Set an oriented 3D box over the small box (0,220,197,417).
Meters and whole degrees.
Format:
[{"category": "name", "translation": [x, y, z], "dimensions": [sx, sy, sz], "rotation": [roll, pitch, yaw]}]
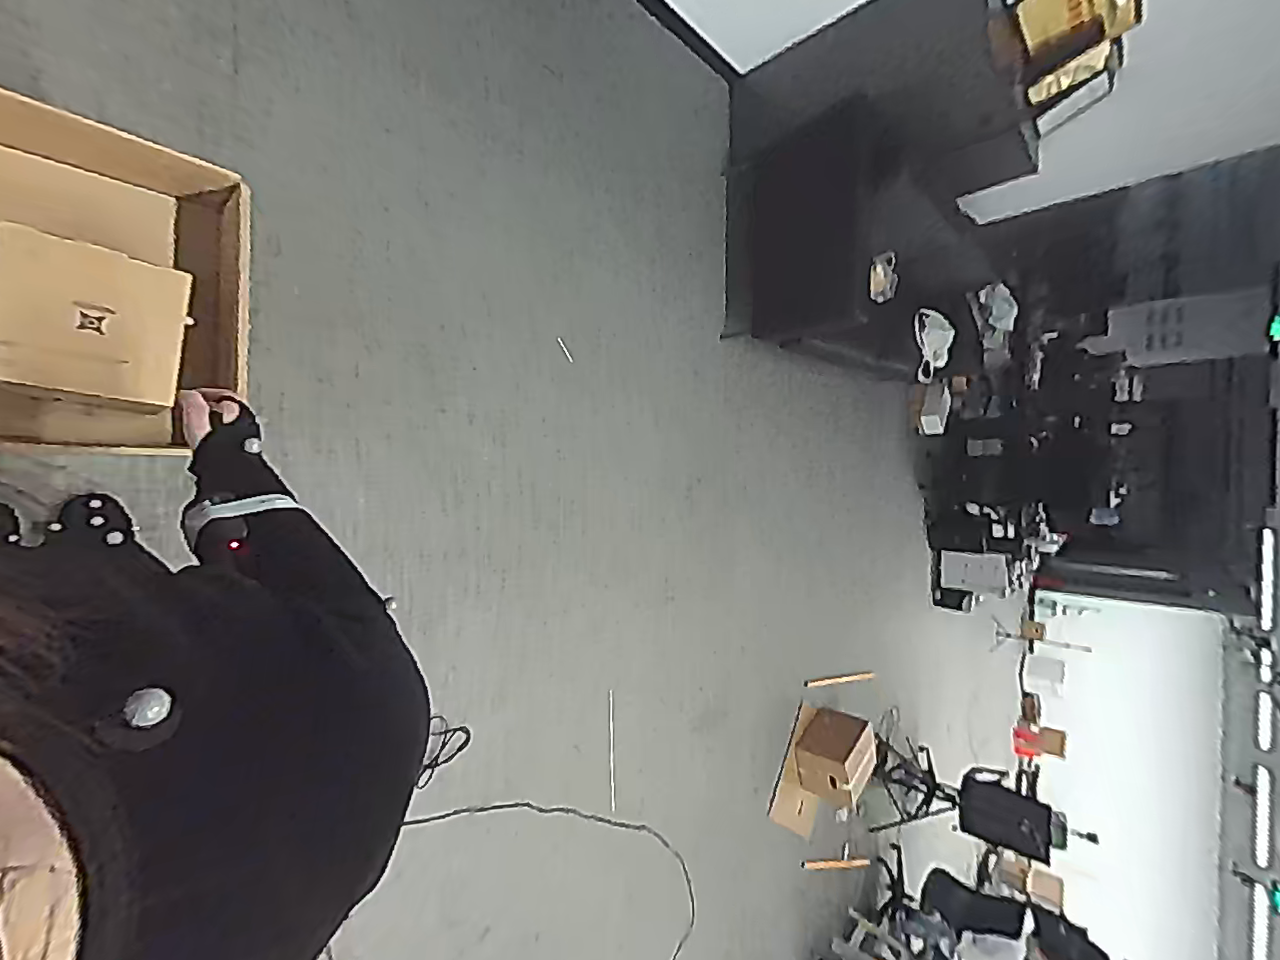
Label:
[{"category": "small box", "translation": [-0.688, -0.185, 0.681], "dimensions": [0.168, 0.176, 0.179], "rotation": [9, 84, -46]}]
